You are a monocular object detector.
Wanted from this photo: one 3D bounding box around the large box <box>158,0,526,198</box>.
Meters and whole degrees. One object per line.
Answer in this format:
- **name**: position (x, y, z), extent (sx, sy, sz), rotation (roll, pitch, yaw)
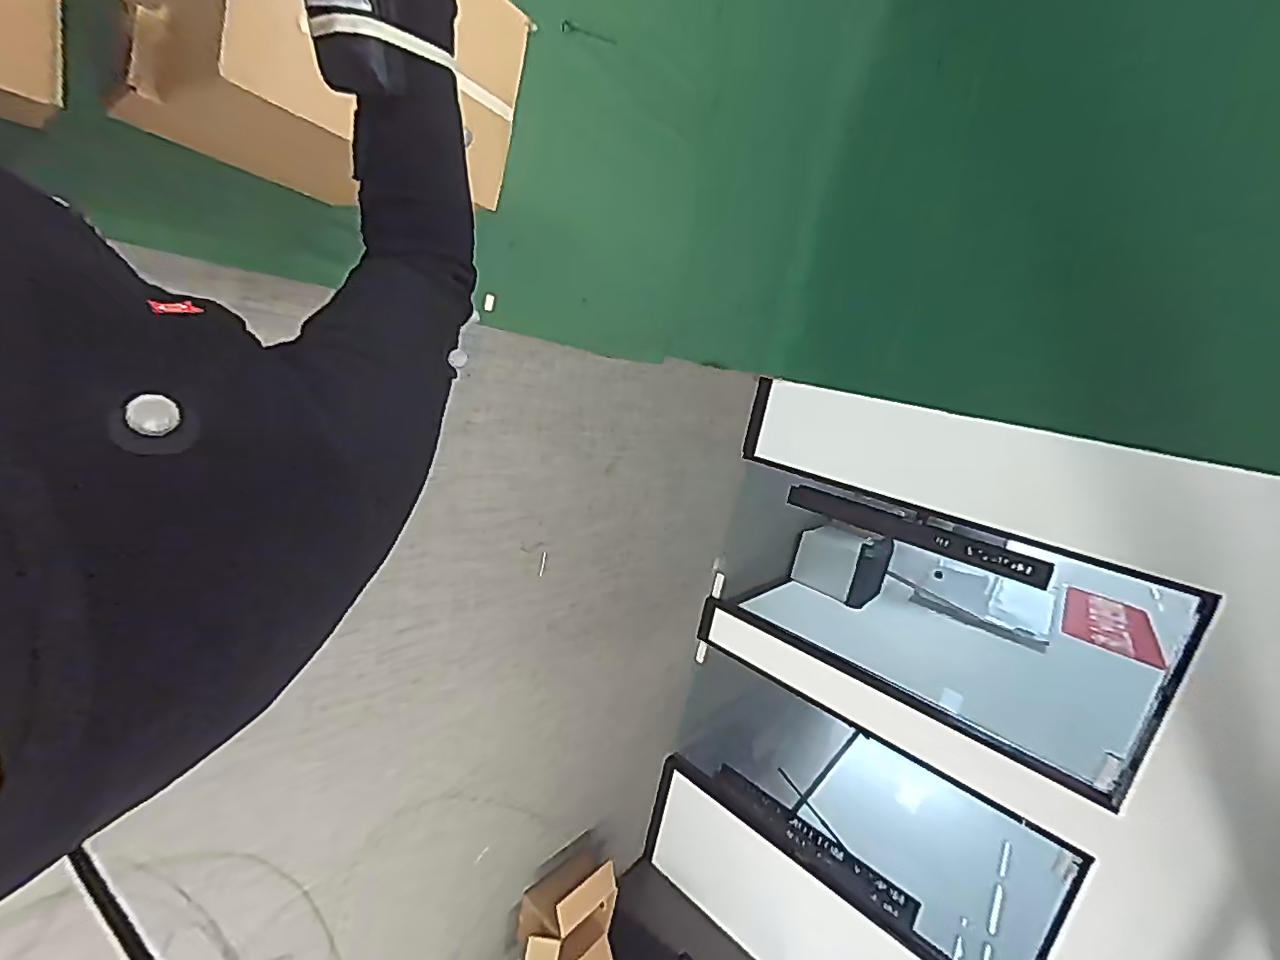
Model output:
- **large box**: position (-0.456, -0.679, 0.848), extent (0.408, 0.320, 0.320), rotation (0, 108, -53)
